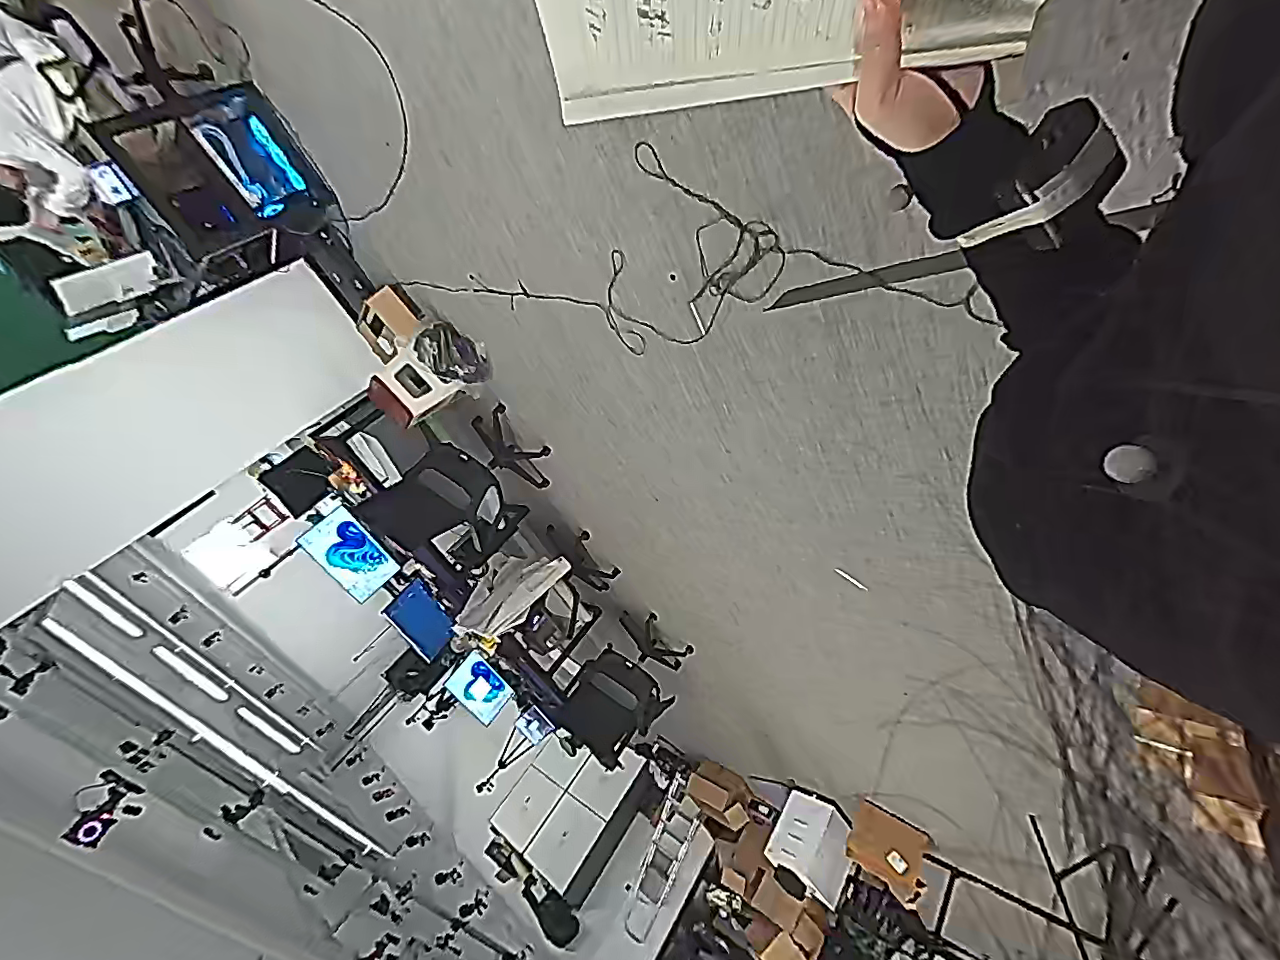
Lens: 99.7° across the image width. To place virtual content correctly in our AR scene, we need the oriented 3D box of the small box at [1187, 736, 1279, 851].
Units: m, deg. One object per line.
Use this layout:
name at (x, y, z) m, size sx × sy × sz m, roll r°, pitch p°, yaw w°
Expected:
small box at (1.538, 0.800, 1.399) m, size 0.168 × 0.176 × 0.179 m, roll 0°, pitch 130°, yaw 49°
